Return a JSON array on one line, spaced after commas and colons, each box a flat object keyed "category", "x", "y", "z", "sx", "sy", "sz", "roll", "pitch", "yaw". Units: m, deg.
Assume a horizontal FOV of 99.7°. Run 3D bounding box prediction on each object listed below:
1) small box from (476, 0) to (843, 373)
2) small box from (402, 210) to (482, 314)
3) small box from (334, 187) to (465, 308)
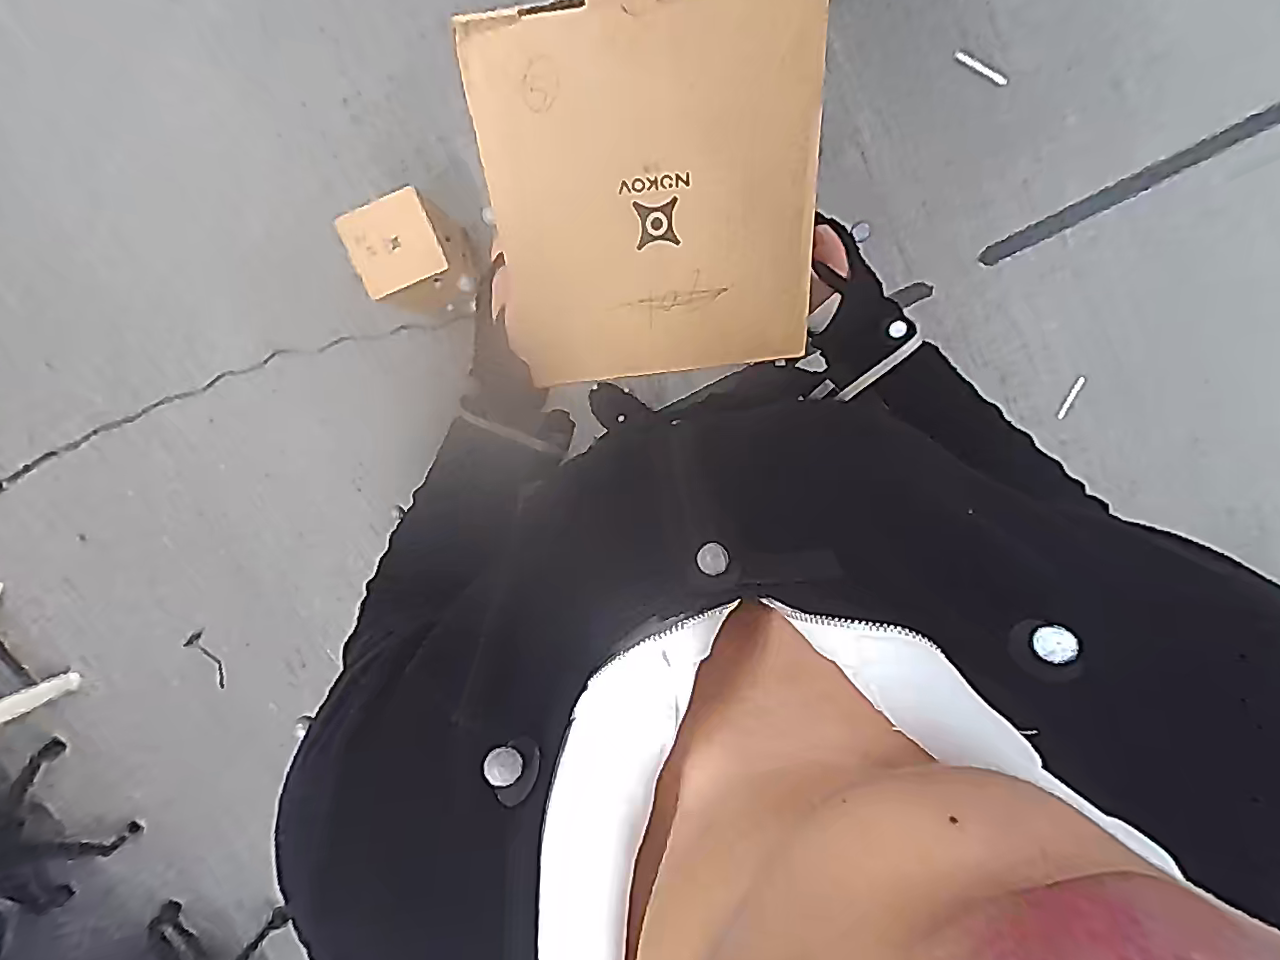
[{"category": "small box", "x": 0.012, "y": -0.188, "z": 0.345, "sx": 0.168, "sy": 0.176, "sz": 0.179, "roll": -5, "pitch": 125, "yaw": 2}, {"category": "small box", "x": -0.505, "y": -0.516, "z": 1.303, "sx": 0.168, "sy": 0.176, "sz": 0.179, "roll": -19, "pitch": 102, "yaw": 4}, {"category": "small box", "x": -0.492, "y": -0.480, "z": 1.143, "sx": 0.179, "sy": 0.176, "sz": 0.168, "roll": -22, "pitch": 100, "yaw": 5}]
